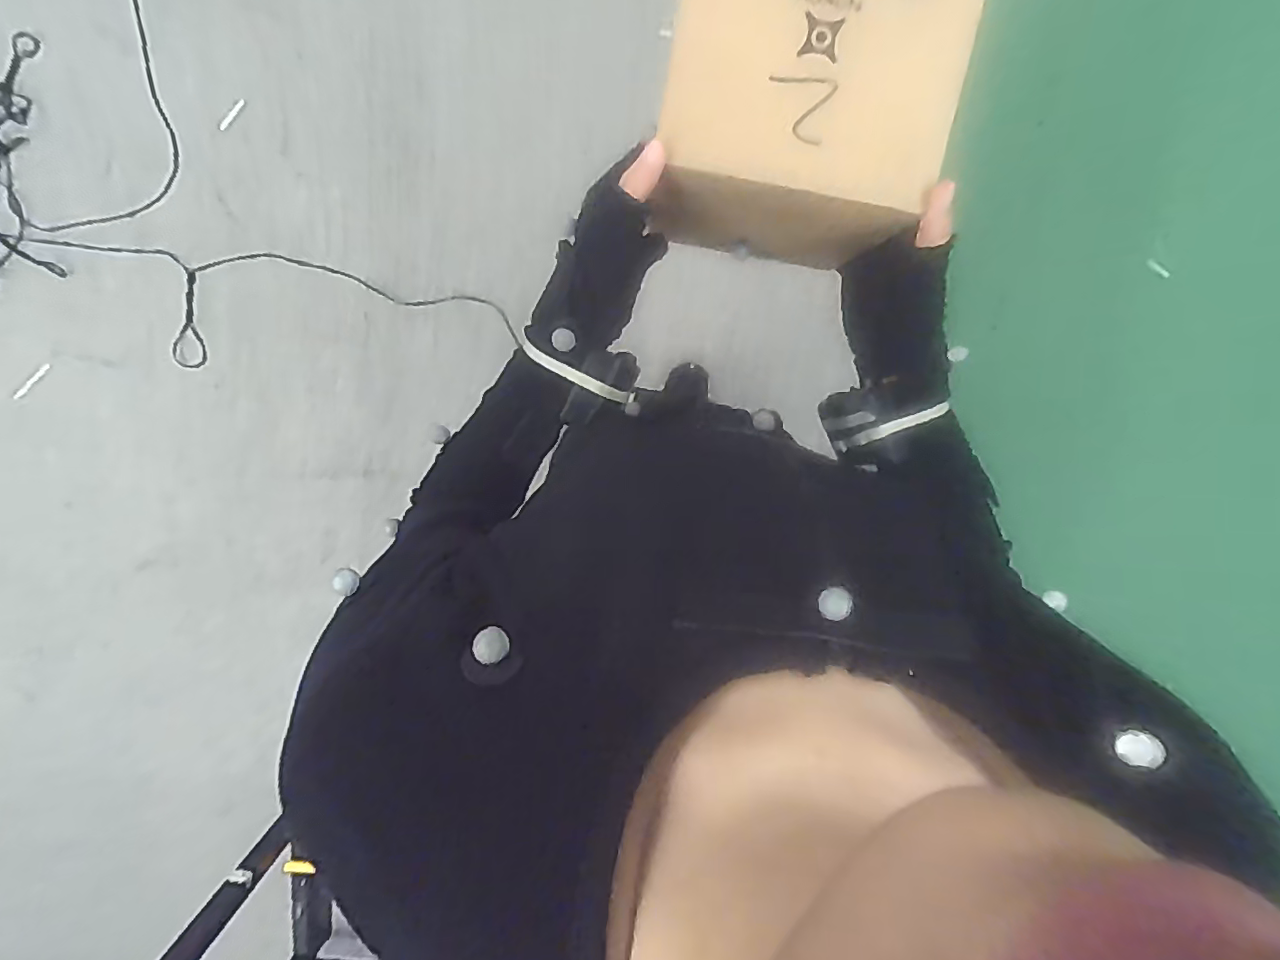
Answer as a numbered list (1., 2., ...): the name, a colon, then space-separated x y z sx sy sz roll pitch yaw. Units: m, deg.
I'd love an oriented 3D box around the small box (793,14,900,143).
1. small box: 0.460 -0.903 1.234 0.168 0.176 0.179 6 100 -2
